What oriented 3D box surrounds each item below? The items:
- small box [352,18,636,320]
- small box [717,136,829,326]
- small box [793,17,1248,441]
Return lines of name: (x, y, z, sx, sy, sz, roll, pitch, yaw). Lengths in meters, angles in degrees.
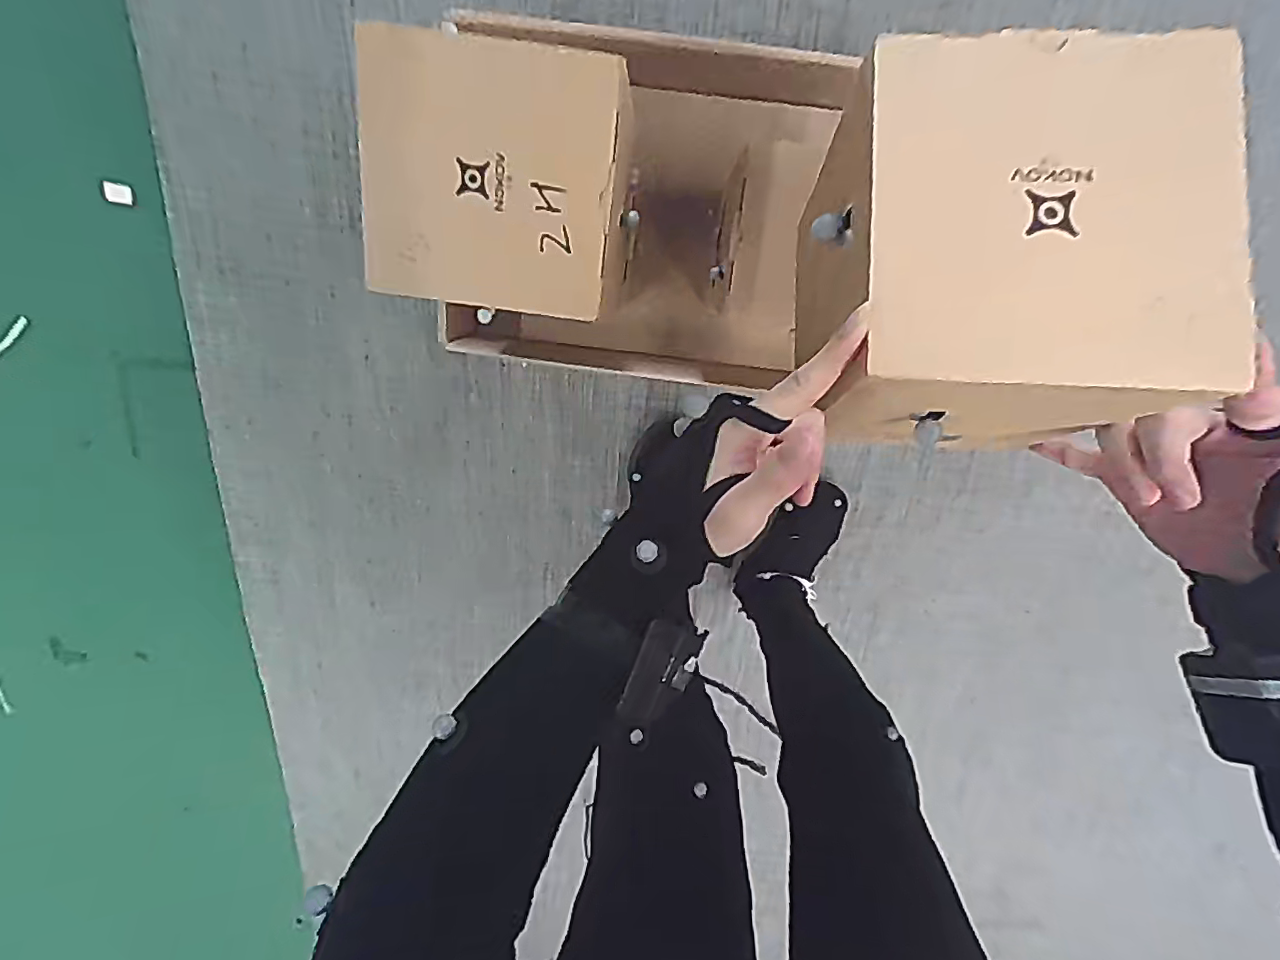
small box: (-0.103, -0.229, 0.441, 0.179, 0.176, 0.168, 8, 110, 0)
small box: (0.184, -0.257, 0.593, 0.179, 0.176, 0.168, 6, 112, 1)
small box: (0.193, -0.123, 0.328, 0.168, 0.176, 0.179, 3, 84, 5)
